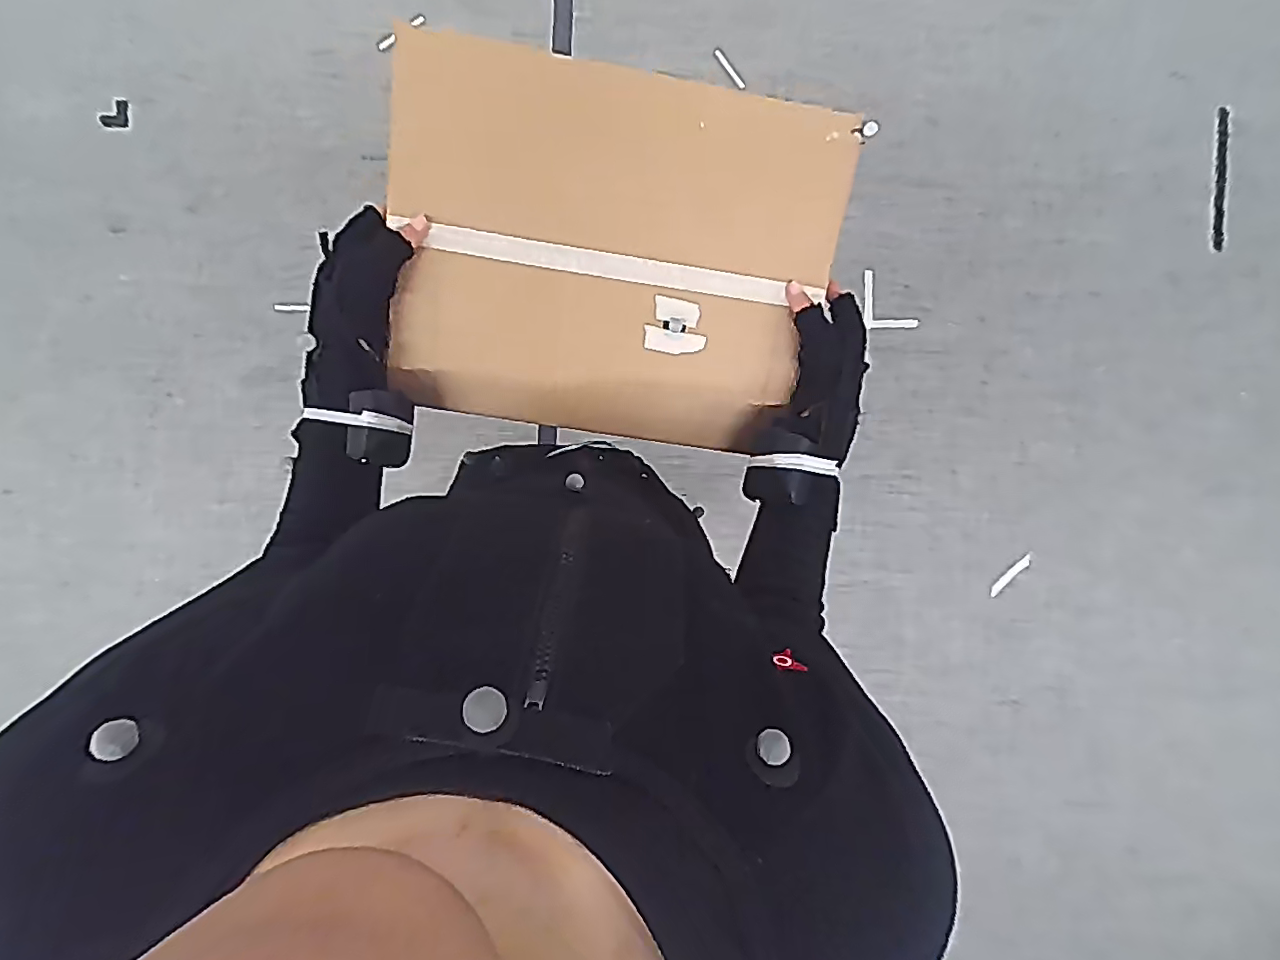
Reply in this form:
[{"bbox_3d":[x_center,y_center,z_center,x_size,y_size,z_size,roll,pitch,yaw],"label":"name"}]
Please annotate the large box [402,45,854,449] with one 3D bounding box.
[{"bbox_3d":[-0.029,-0.241,0.658,0.408,0.320,0.320,8,106,-5],"label":"large box"}]
